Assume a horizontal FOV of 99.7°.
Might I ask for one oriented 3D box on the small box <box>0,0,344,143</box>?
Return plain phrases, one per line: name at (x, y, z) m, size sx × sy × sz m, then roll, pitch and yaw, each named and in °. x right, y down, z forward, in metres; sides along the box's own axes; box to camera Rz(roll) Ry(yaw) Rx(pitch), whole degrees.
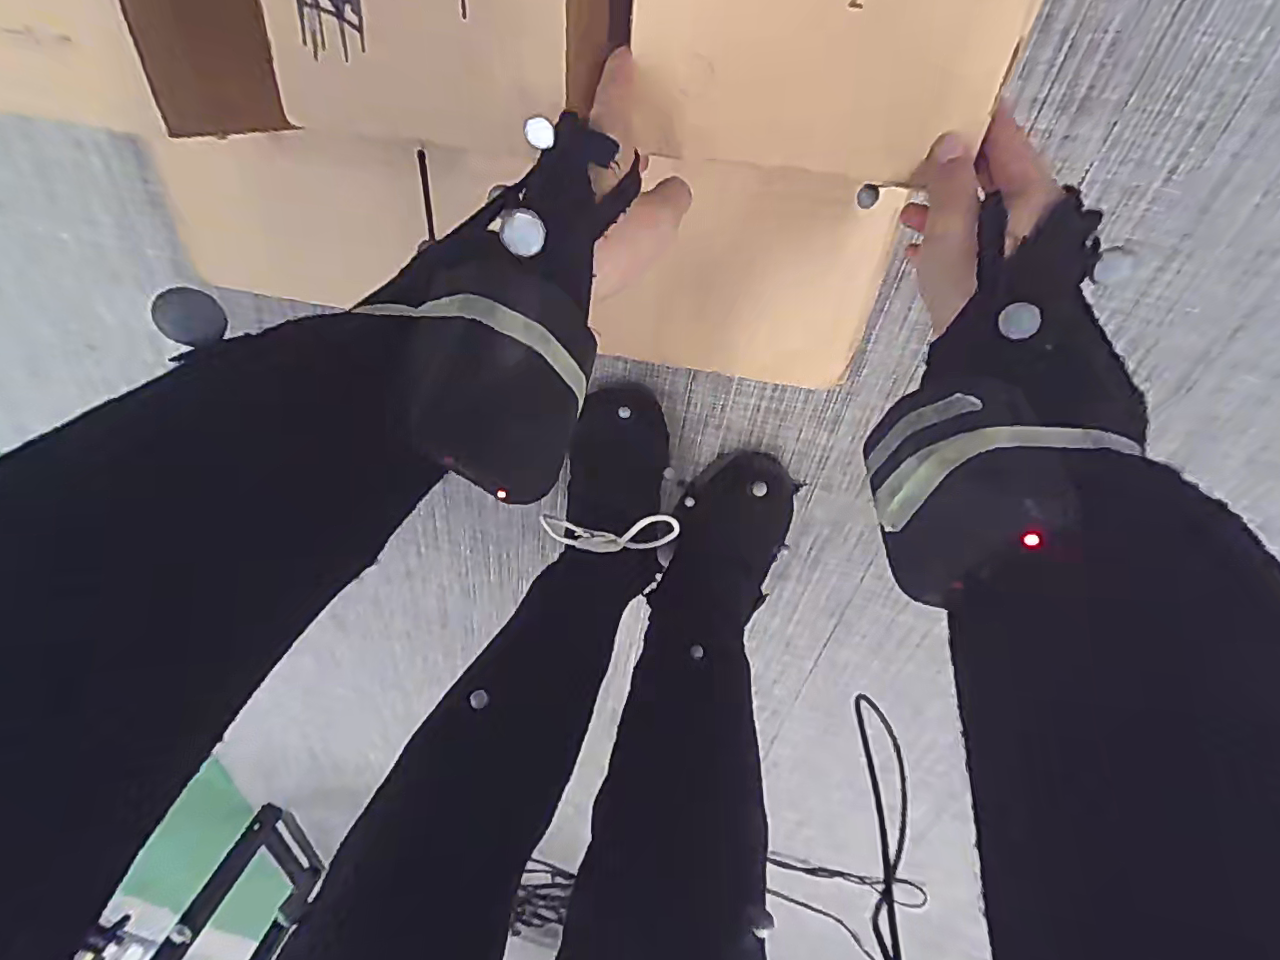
small box at (-0.341, -0.346, 0.367) m, size 0.168 × 0.176 × 0.179 m, roll 12°, pitch 127°, yaw 8°
